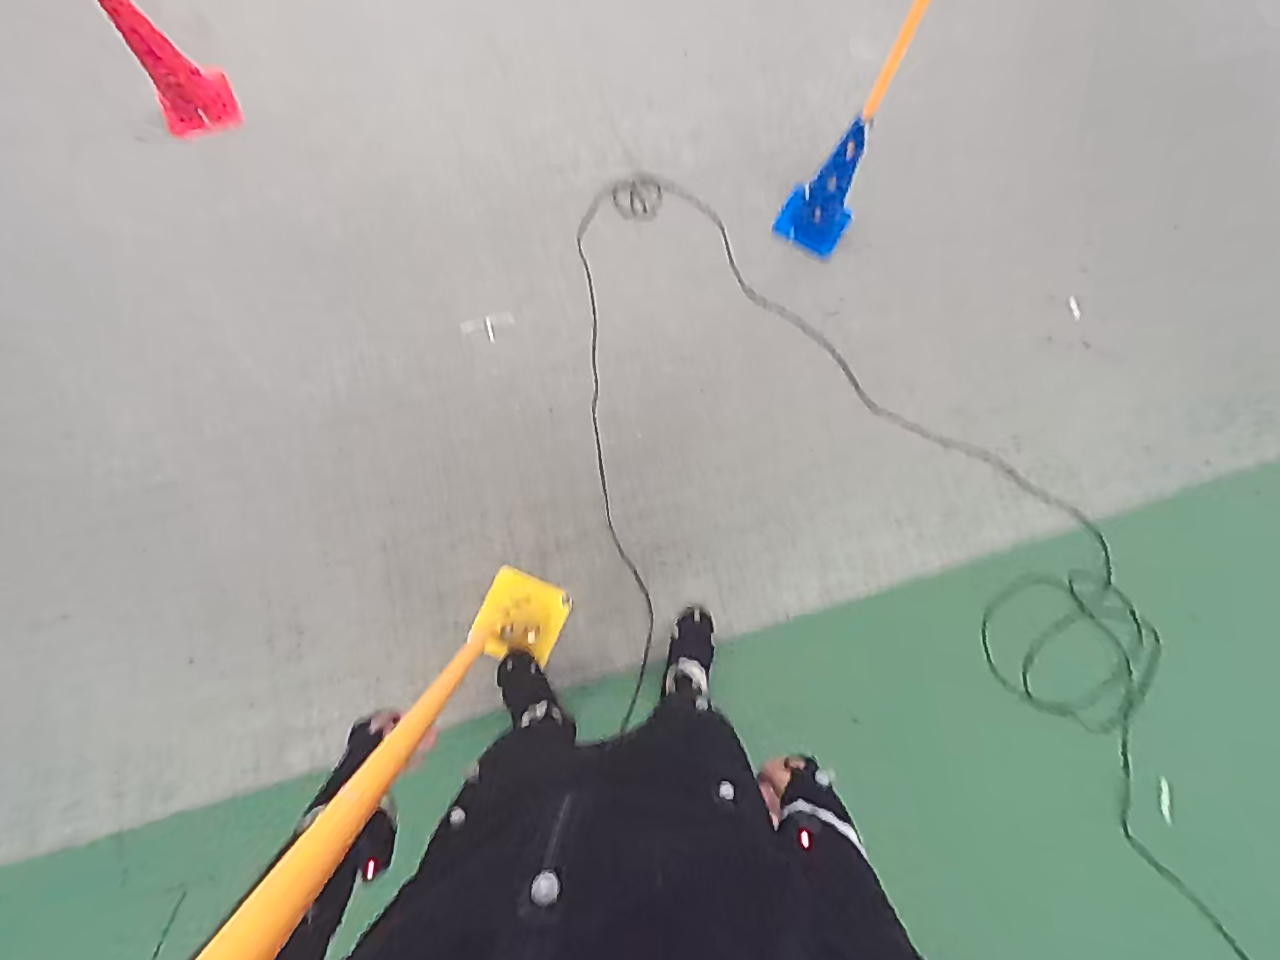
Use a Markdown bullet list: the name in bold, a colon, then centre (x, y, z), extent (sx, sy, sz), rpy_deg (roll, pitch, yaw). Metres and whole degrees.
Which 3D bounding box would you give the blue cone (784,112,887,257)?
- **blue cone**: centre (0.547, -0.814, 1.460), extent (0.192, 0.380, 0.193), rpy_deg (28, 75, 4)
